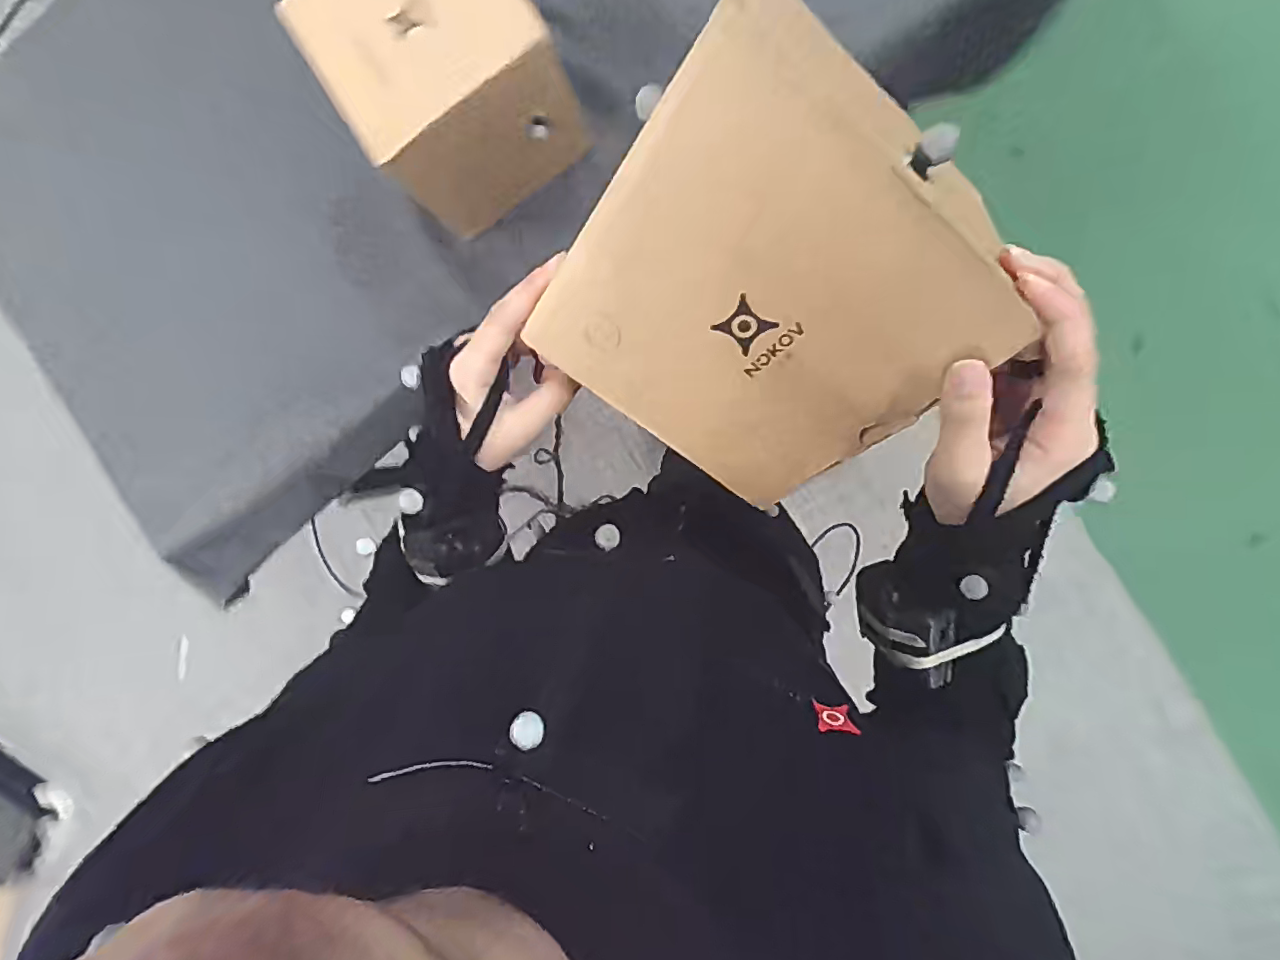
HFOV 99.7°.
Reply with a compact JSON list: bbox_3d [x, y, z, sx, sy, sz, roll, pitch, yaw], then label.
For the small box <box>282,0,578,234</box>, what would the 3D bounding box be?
[{"bbox_3d":[-0.177,-0.379,0.519,0.179,0.176,0.168,-33,88,10],"label":"small box"}]
